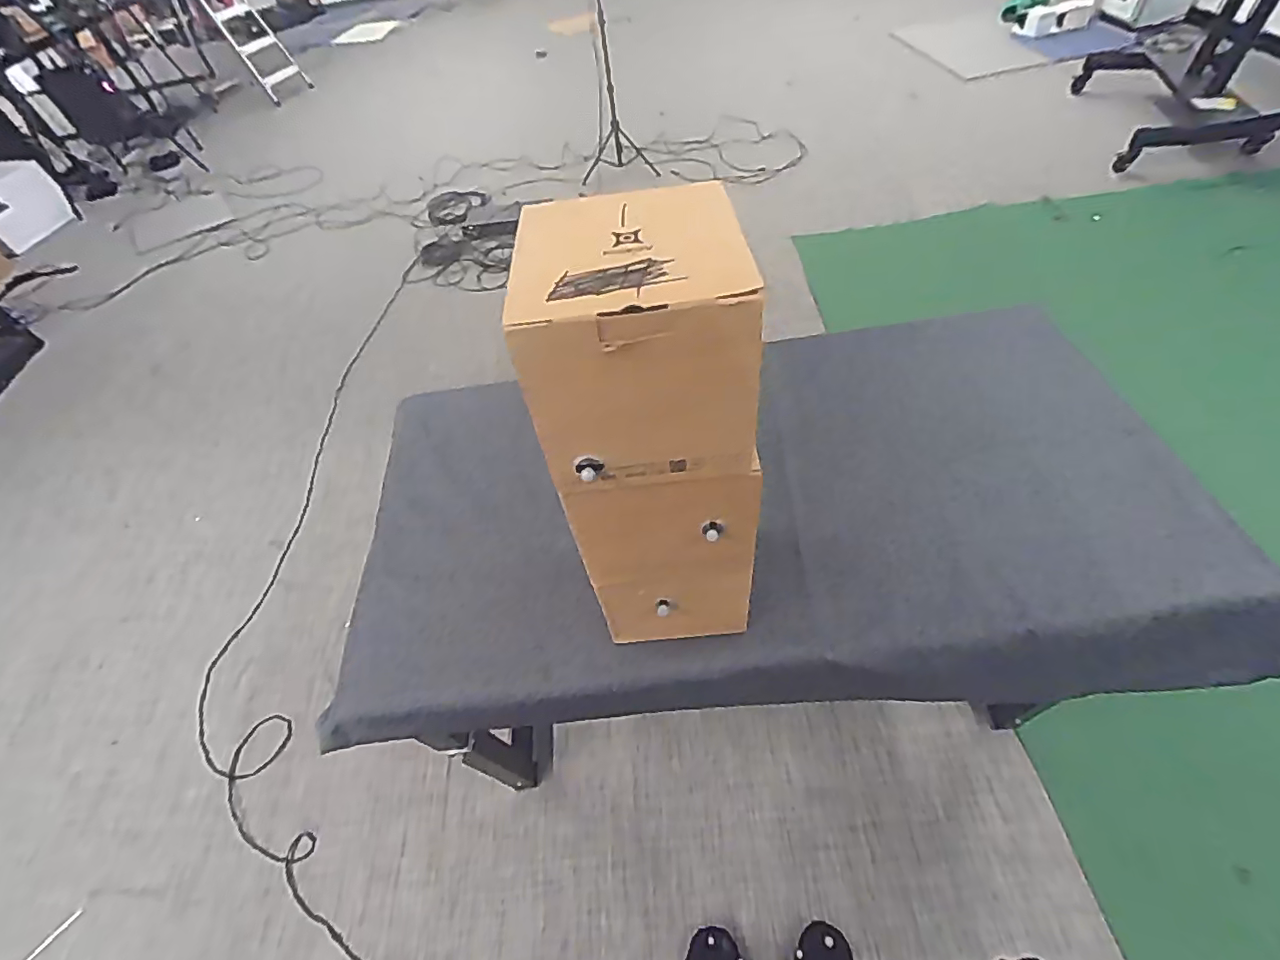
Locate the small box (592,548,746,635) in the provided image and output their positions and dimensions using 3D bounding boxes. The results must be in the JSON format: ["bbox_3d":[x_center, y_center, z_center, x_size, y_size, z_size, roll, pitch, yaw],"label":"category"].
[{"bbox_3d":[0.039,0.091,0.707,0.179,0.176,0.168,-6,51,3],"label":"small box"}]

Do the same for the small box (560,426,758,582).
[{"bbox_3d":[0.021,-0.008,0.580,0.179,0.176,0.168,-7,49,3],"label":"small box"}]

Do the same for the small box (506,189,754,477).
[{"bbox_3d":[-0.001,-0.116,0.457,0.168,0.176,0.179,-6,49,2],"label":"small box"}]
